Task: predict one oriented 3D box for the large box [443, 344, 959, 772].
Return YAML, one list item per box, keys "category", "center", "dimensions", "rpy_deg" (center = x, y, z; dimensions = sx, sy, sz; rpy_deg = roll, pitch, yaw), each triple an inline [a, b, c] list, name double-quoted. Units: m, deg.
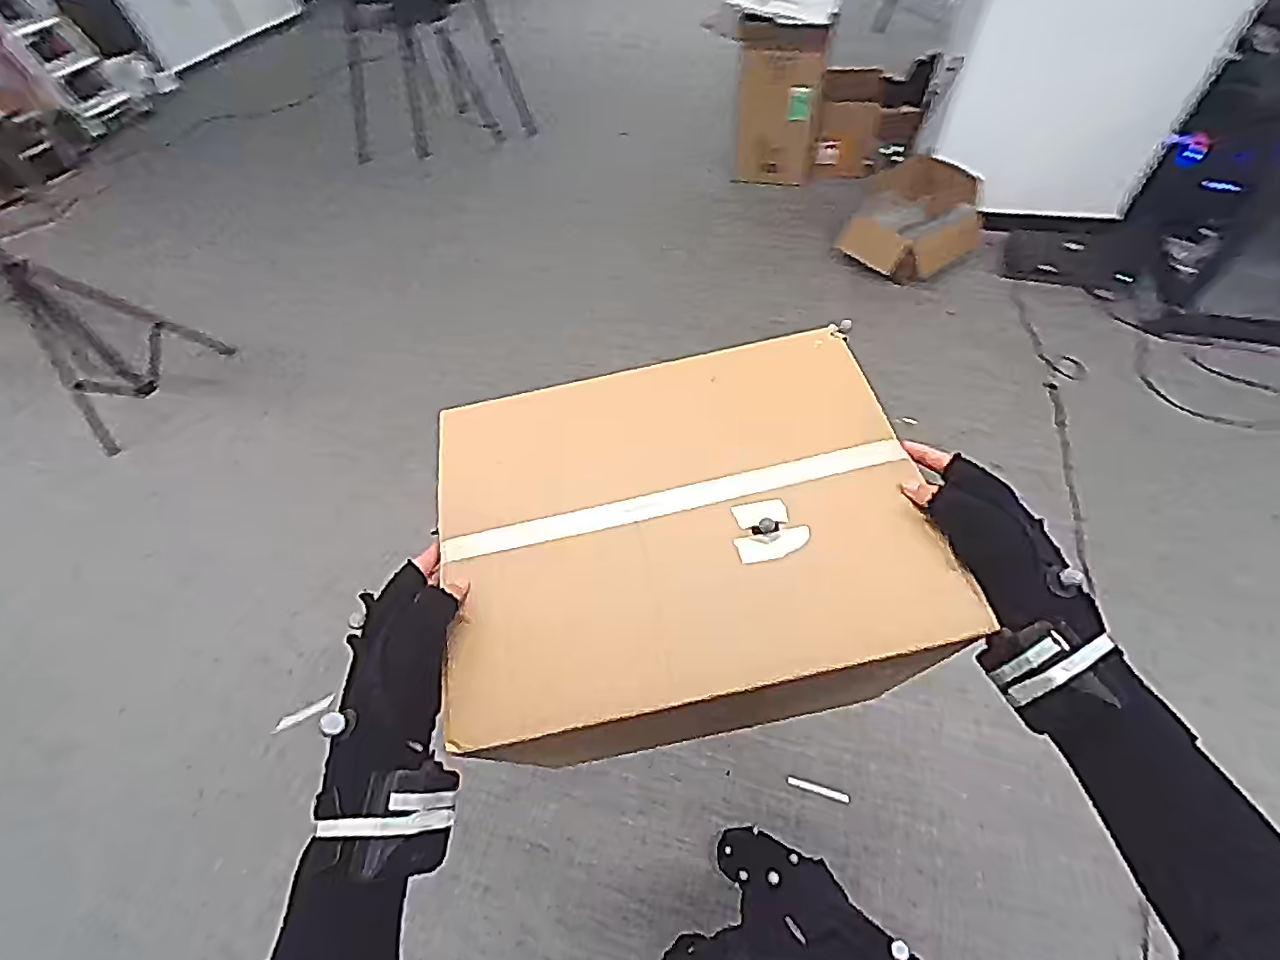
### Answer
- category: "large box"
  center: [0.036, 0.105, 0.611]
  dimensions: [0.408, 0.320, 0.320]
  rpy_deg: [-14, 60, -2]
